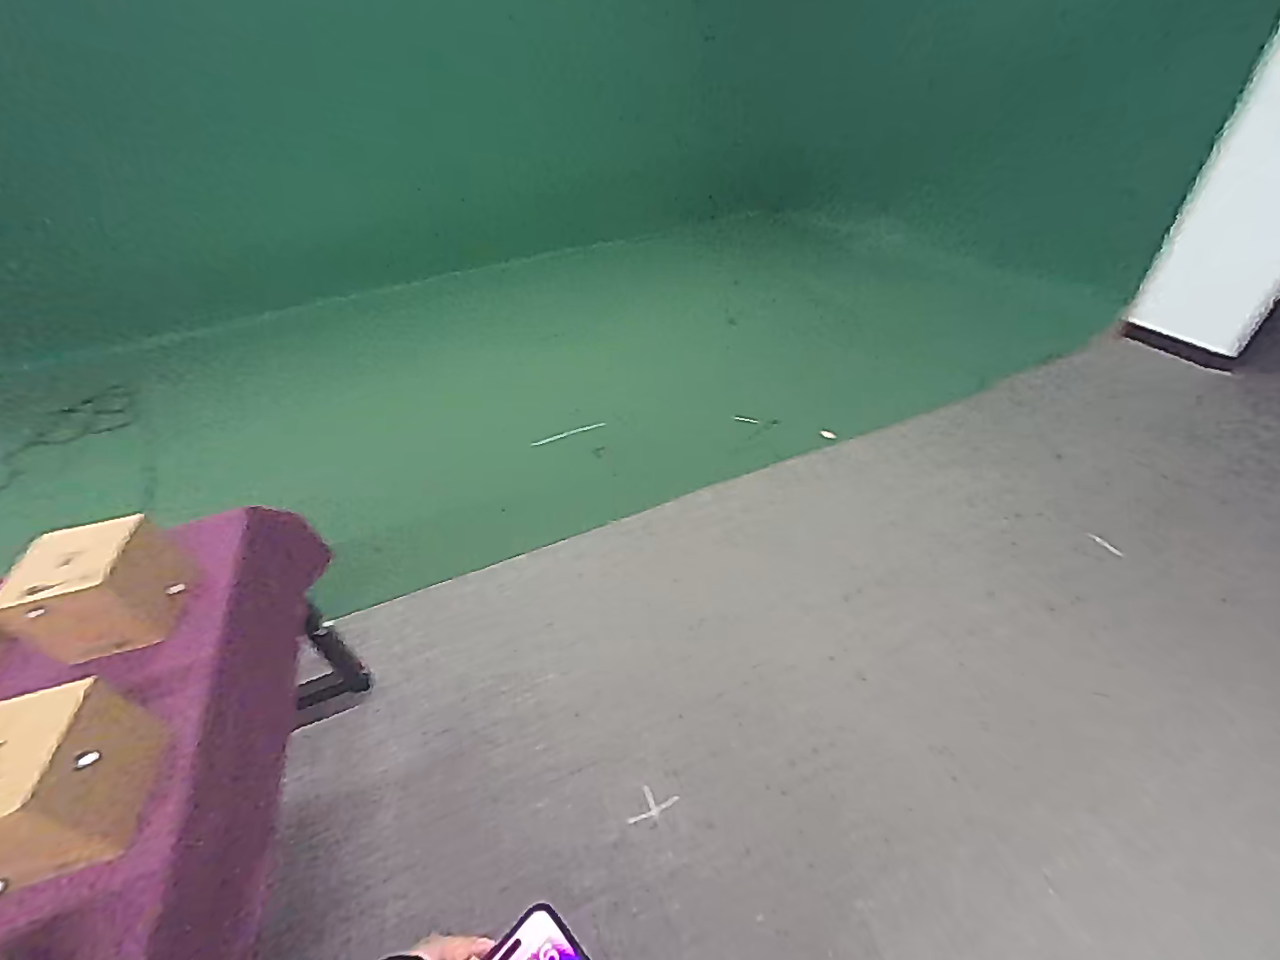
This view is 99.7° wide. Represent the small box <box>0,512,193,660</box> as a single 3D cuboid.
[{"bbox_3d":[-0.959,0.189,0.970,0.168,0.176,0.179,-14,42,-8],"label":"small box"}]

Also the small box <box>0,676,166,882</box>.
[{"bbox_3d":[-0.790,0.399,0.715,0.168,0.176,0.179,-14,41,-9],"label":"small box"}]
